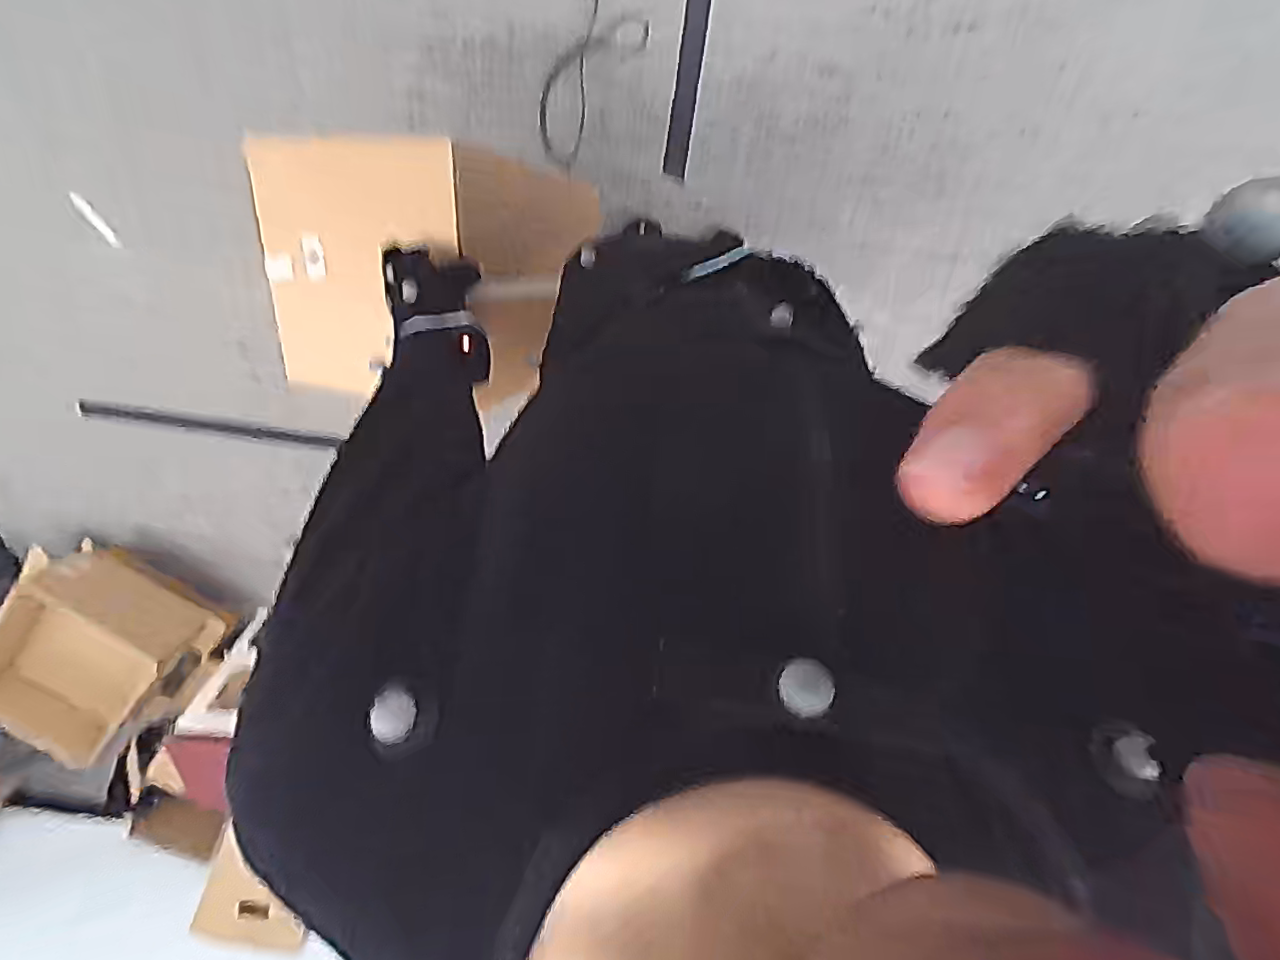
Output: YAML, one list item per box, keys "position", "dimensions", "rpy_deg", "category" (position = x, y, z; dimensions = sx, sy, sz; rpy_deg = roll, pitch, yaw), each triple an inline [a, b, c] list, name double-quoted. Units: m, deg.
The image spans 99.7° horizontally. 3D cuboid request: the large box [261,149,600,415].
- position: [-0.287, -0.323, 0.868]
  dimensions: [0.320, 0.408, 0.320]
  rpy_deg: [13, 115, 15]
  category: "large box"
